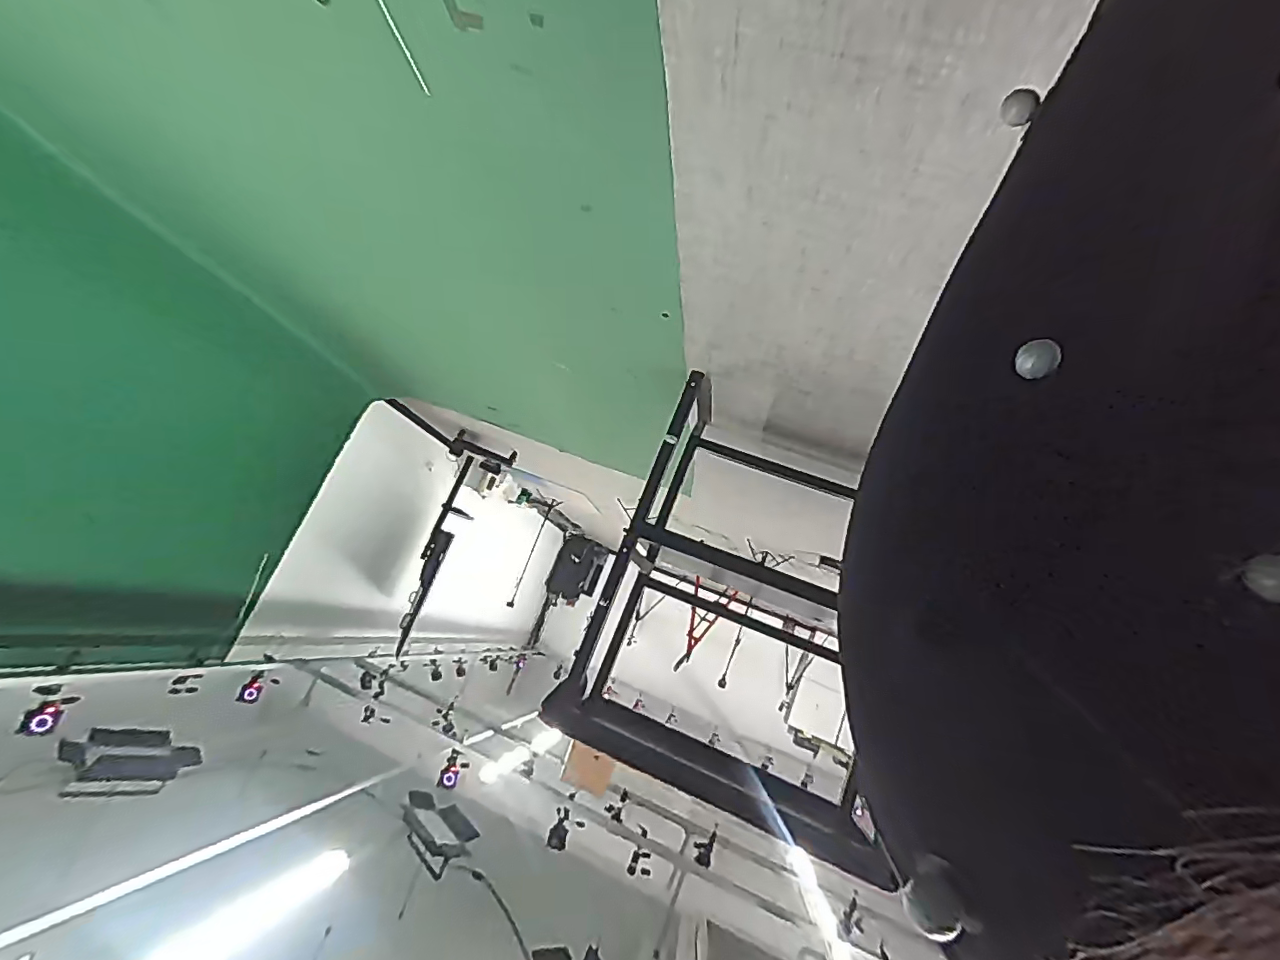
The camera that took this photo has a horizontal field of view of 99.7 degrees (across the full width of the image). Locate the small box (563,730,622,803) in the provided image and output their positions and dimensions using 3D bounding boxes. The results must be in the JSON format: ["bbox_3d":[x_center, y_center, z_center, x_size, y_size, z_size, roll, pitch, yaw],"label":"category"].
[{"bbox_3d":[-0.170,1.034,1.974,0.168,0.176,0.179,21,166,2],"label":"small box"}]
